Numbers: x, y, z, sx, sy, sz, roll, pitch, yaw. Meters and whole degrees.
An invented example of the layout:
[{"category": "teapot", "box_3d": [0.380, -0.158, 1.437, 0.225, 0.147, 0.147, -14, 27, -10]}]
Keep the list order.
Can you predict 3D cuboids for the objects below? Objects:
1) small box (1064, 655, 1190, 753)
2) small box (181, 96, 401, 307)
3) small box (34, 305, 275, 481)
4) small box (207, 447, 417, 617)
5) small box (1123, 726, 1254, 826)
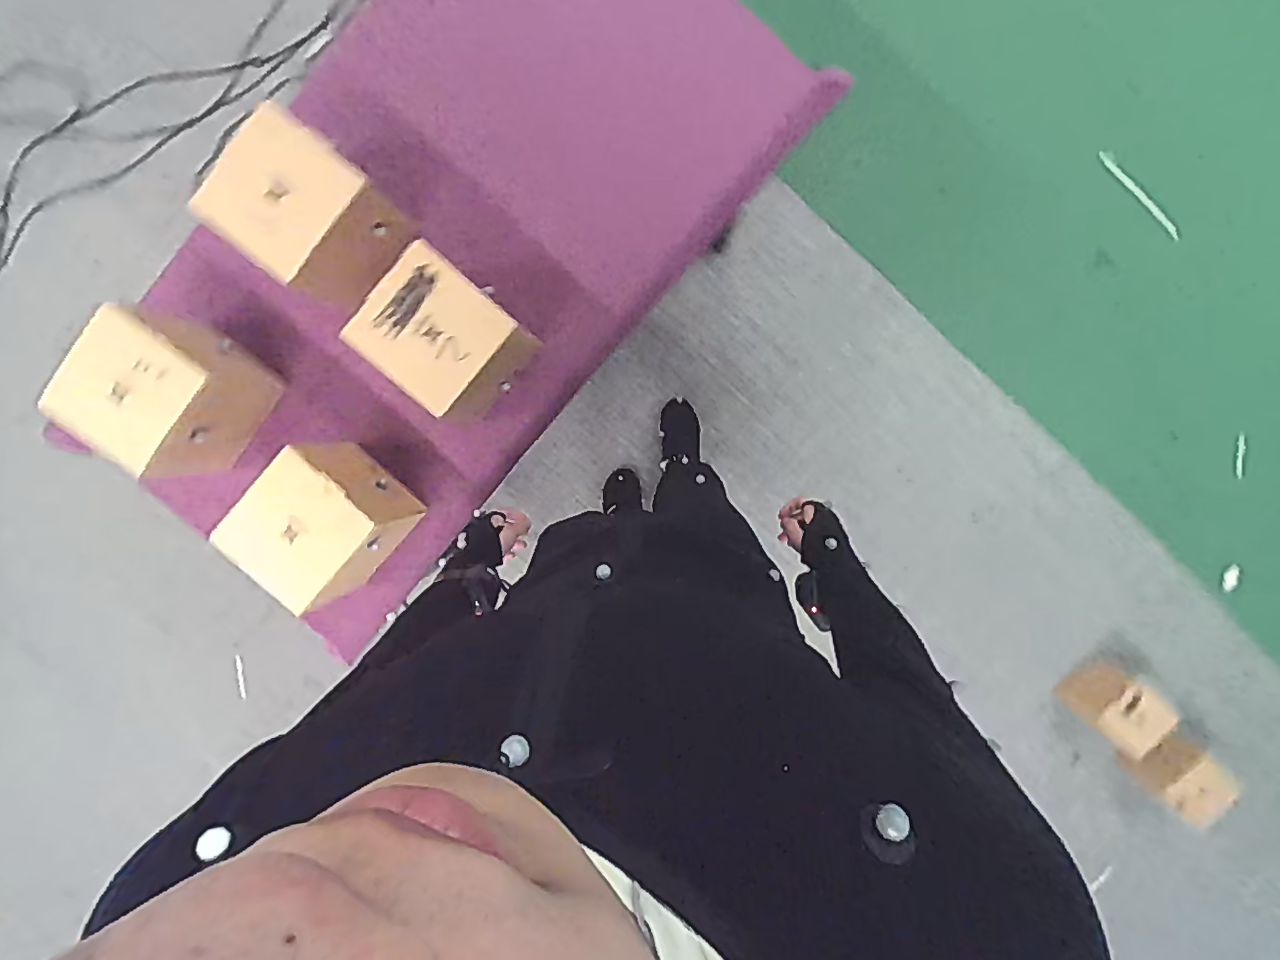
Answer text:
[{"category": "small box", "box_3d": [1.397, 0.636, 1.566, 0.179, 0.176, 0.168, 43, 95, -4]}, {"category": "small box", "box_3d": [-0.476, -0.378, 0.773, 0.168, 0.176, 0.179, 39, 95, -2]}, {"category": "small box", "box_3d": [-0.694, -0.121, 0.797, 0.168, 0.176, 0.179, 38, 94, -3]}, {"category": "small box", "box_3d": [-0.474, 0.067, 0.813, 0.168, 0.176, 0.179, 41, 94, -2]}, {"category": "small box", "box_3d": [1.594, 0.847, 1.584, 0.168, 0.176, 0.179, 45, 94, -3]}]
